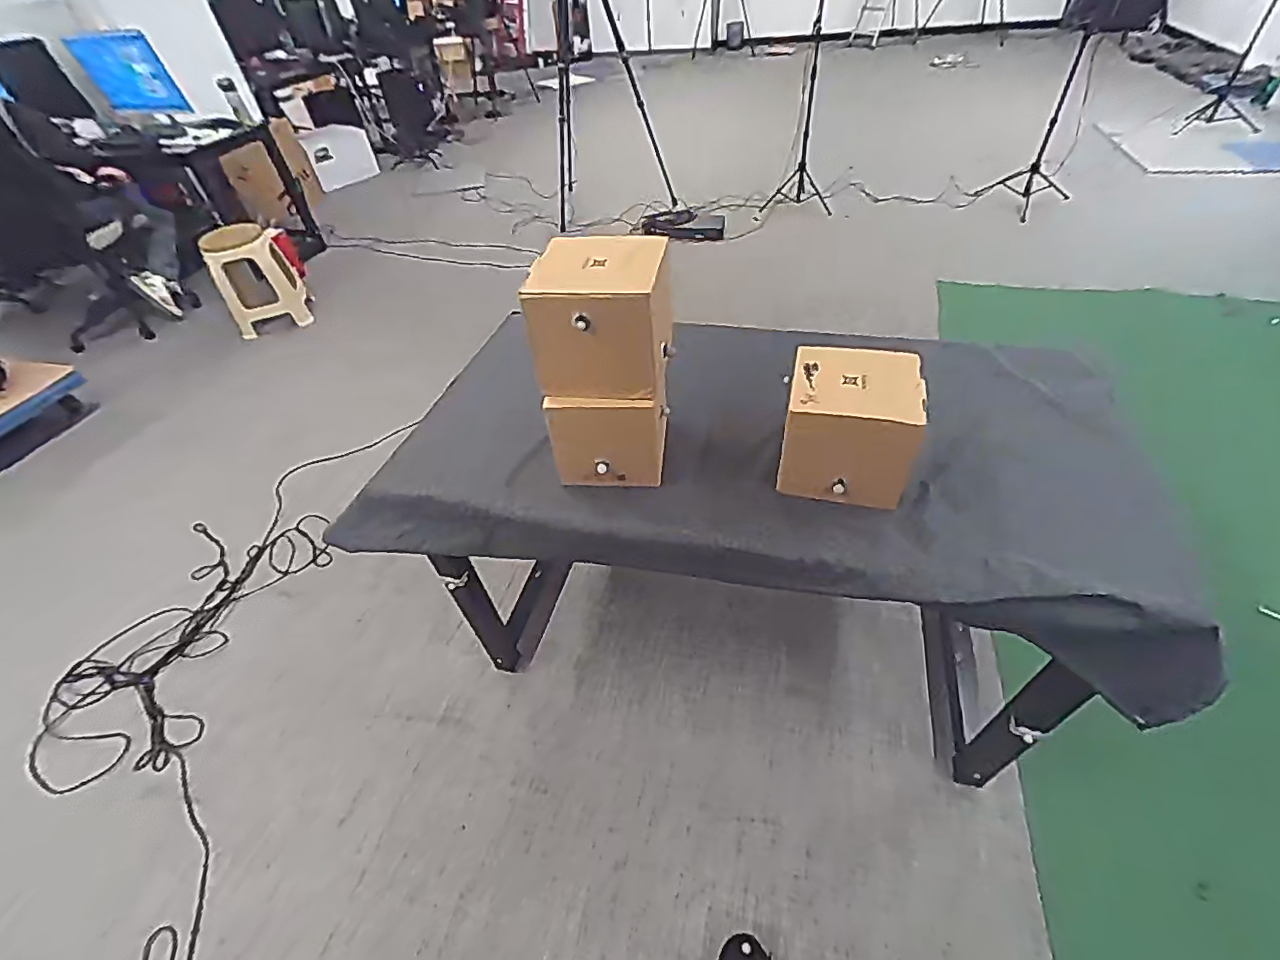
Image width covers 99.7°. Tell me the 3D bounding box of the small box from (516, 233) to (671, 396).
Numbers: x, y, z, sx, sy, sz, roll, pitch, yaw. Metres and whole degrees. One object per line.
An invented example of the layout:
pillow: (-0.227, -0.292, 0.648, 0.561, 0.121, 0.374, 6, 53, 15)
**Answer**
small box: (-0.053, -0.236, 0.776, 0.179, 0.176, 0.168, 5, 48, 9)

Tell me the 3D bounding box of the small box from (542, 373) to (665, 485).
small box: (-0.048, -0.113, 0.883, 0.168, 0.176, 0.179, 1, 47, 7)

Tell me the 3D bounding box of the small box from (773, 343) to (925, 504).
small box: (0.308, -0.083, 0.818, 0.179, 0.176, 0.168, 9, 48, 14)
